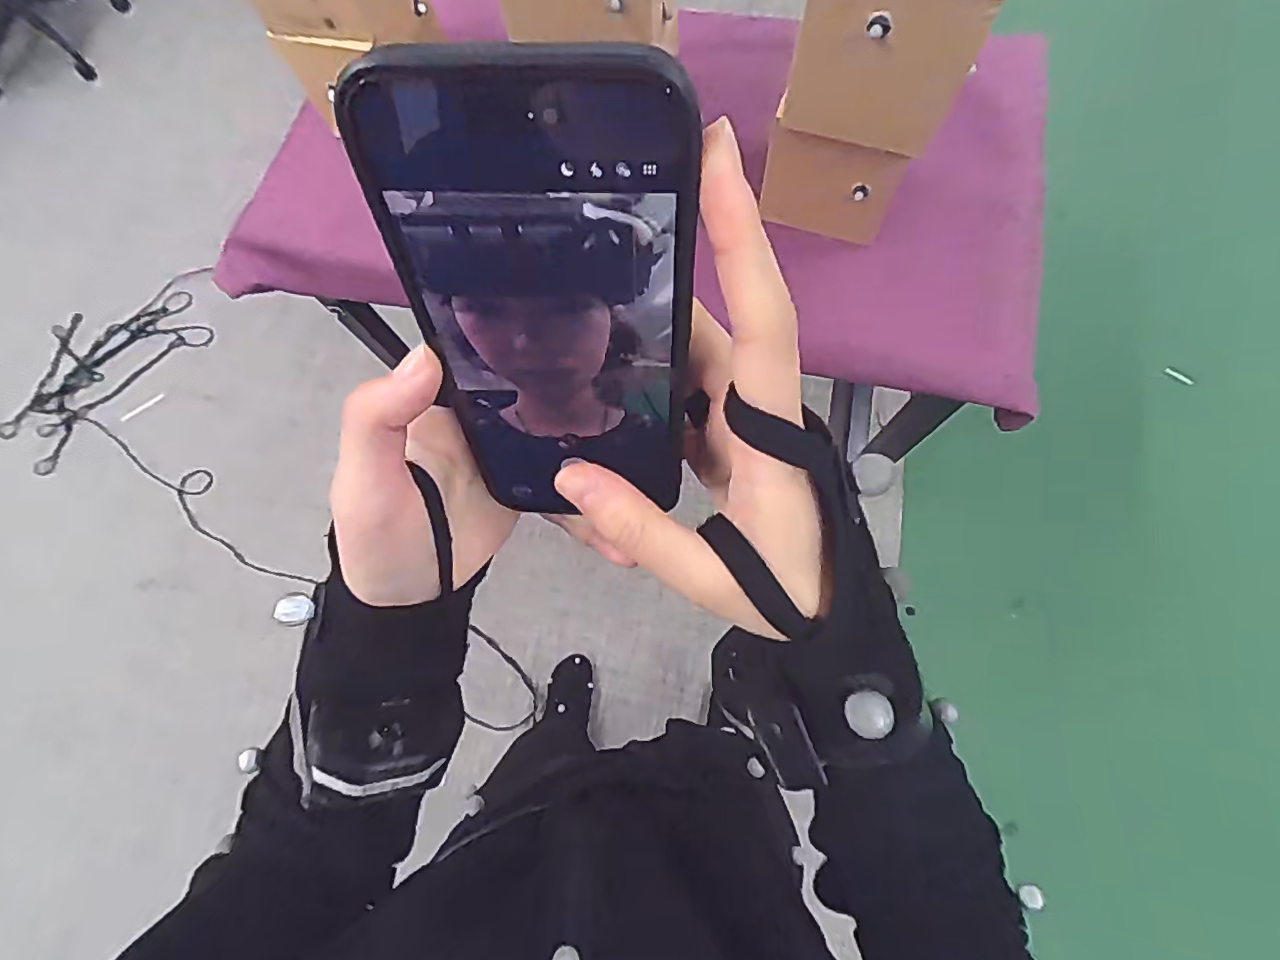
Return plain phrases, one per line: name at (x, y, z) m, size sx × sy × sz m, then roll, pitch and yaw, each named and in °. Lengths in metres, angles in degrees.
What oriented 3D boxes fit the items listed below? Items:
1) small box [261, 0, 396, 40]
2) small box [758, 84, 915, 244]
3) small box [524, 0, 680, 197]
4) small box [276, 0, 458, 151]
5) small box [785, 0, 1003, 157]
small box at (-0.424, -0.720, 0.703) m, size 0.168 × 0.176 × 0.179 m, roll 9°, pitch 74°, yaw 6°
small box at (0.279, -0.460, 0.749) m, size 0.179 × 0.176 × 0.168 m, roll 20°, pitch 75°, yaw 10°
small box at (-0.045, -0.553, 0.797) m, size 0.179 × 0.176 × 0.168 m, roll 14°, pitch 74°, yaw 8°
small box at (-0.415, -0.664, 0.857) m, size 0.168 × 0.176 × 0.179 m, roll 14°, pitch 74°, yaw 8°
small box at (0.273, -0.492, 0.588) m, size 0.179 × 0.176 × 0.168 m, roll 20°, pitch 75°, yaw 9°
